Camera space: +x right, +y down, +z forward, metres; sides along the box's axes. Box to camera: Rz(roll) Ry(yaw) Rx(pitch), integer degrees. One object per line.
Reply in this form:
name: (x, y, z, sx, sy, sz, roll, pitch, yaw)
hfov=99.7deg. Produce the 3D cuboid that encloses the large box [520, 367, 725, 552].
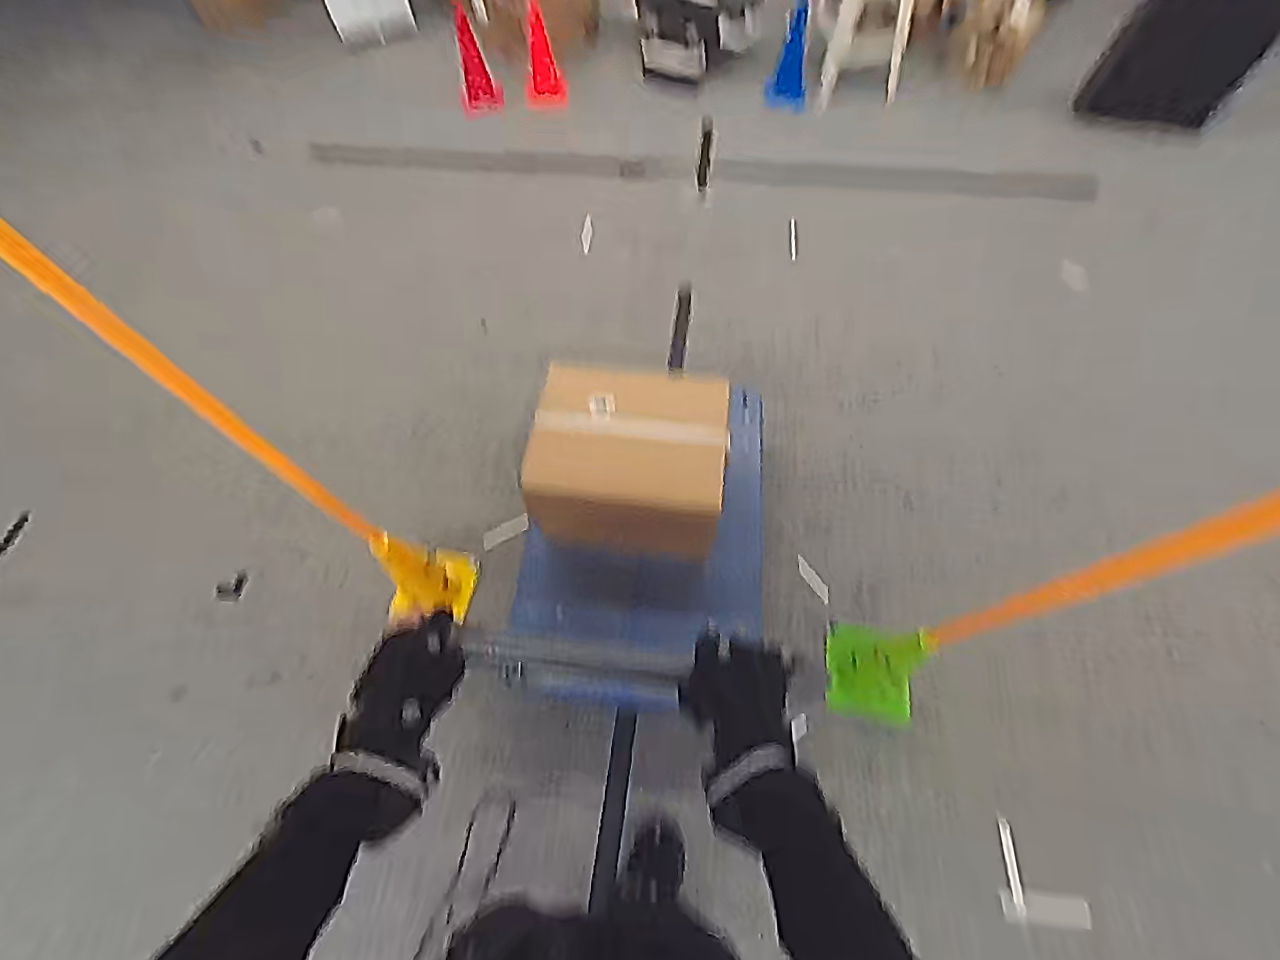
large box: (-0.020, -0.037, 1.269, 0.408, 0.320, 0.320, 6, 64, 6)

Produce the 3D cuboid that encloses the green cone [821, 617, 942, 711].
green cone: (0.556, 0.377, 1.197, 0.202, 0.368, 0.200, 10, 63, 5)
